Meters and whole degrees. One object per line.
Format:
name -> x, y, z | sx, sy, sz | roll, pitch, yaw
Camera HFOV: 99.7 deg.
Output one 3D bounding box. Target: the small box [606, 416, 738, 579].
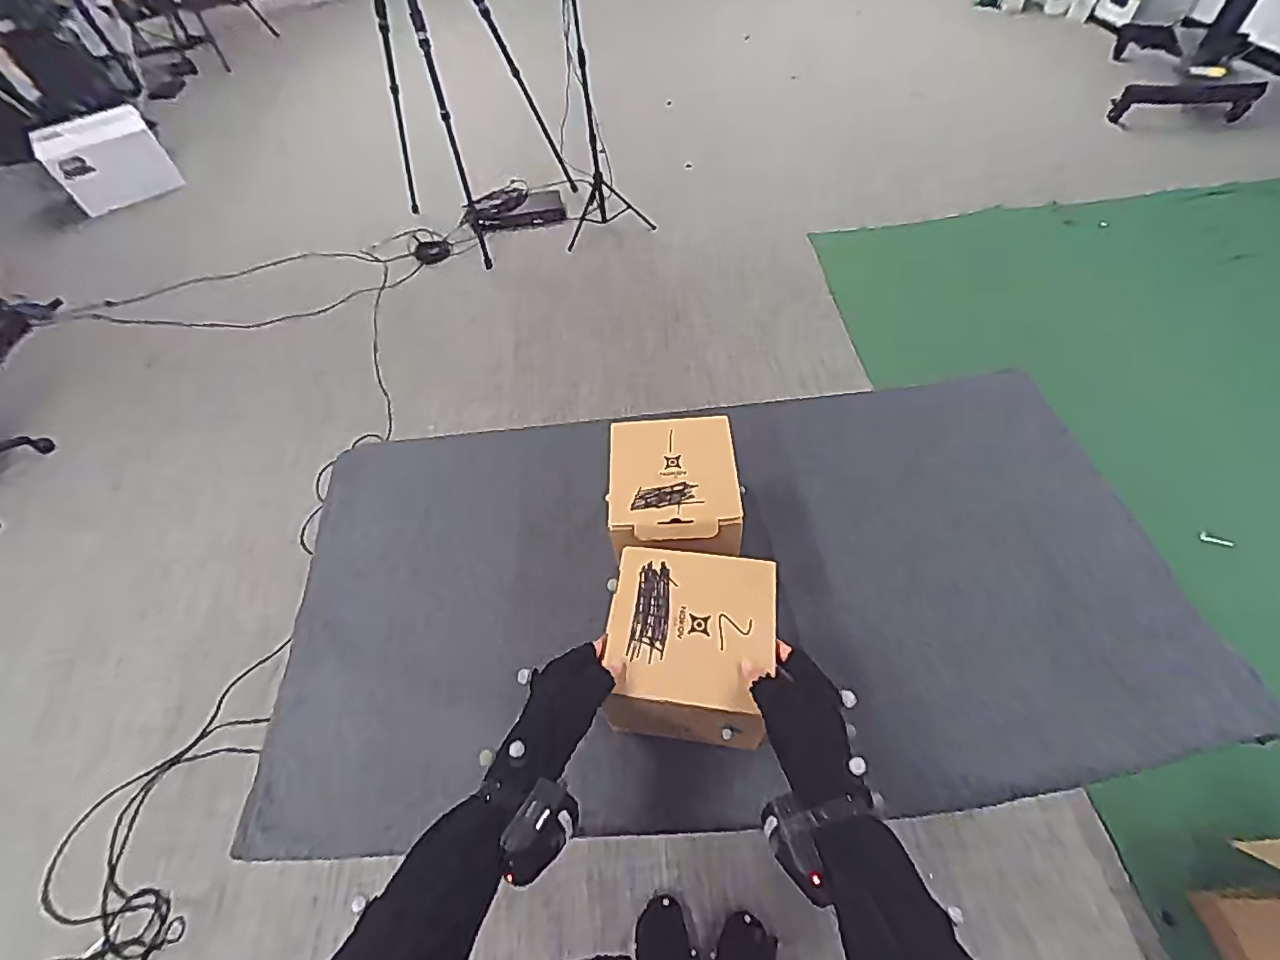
small box -> 0.047, 0.032, 0.769 | 0.168, 0.176, 0.179 | -3, 53, 3
